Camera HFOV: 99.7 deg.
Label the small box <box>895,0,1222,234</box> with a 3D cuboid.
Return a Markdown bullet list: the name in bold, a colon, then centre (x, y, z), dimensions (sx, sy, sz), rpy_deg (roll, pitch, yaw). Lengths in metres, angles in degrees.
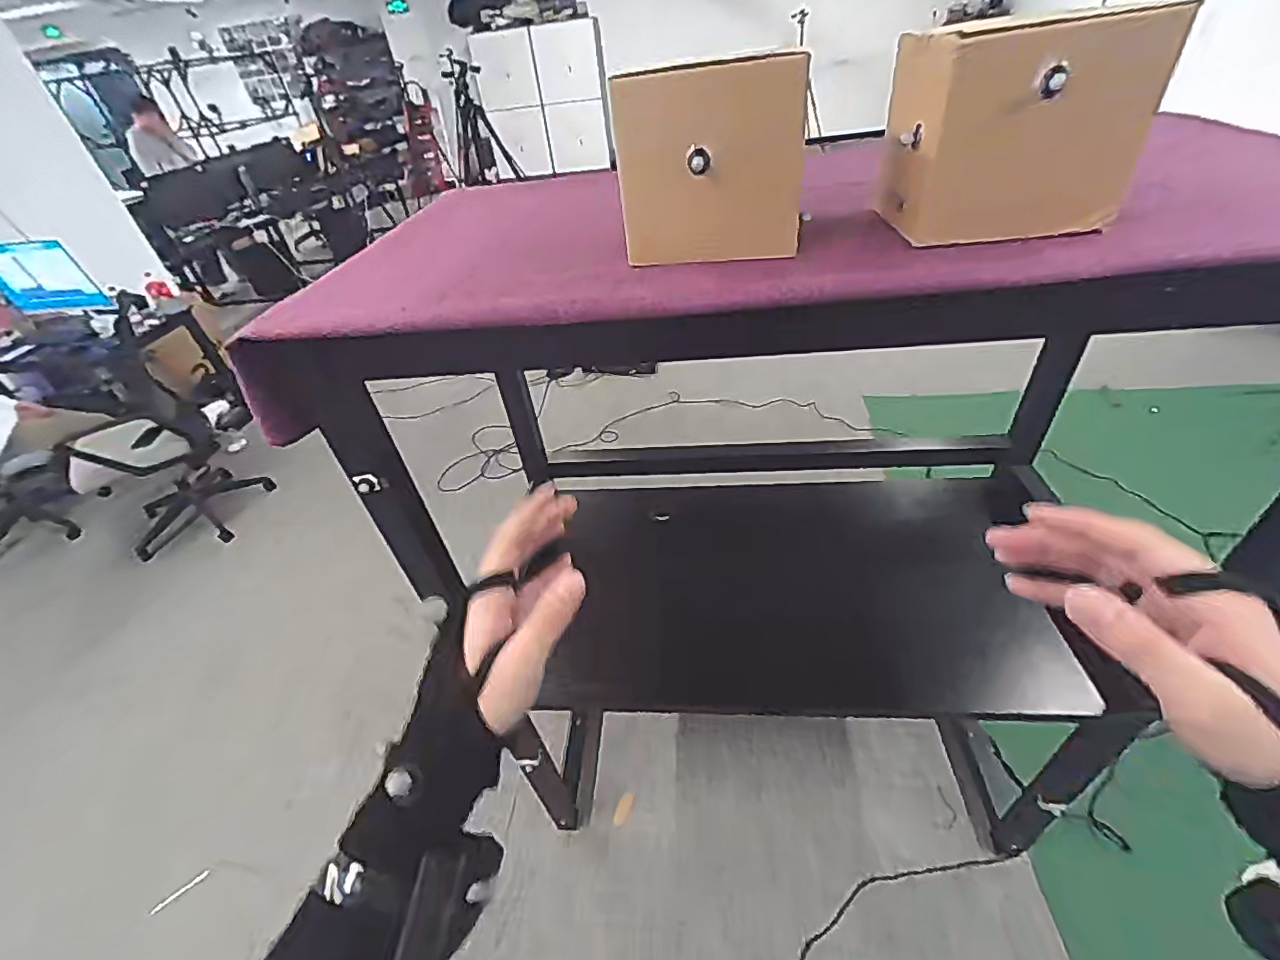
- **small box**: centre (0.350, -0.337, 0.498), dimensions (0.179, 0.176, 0.168), rpy_deg (1, 40, 9)

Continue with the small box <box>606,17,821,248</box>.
- **small box**: centre (0.078, -0.346, 0.545), dimensions (0.179, 0.176, 0.168), rpy_deg (3, 40, 12)
